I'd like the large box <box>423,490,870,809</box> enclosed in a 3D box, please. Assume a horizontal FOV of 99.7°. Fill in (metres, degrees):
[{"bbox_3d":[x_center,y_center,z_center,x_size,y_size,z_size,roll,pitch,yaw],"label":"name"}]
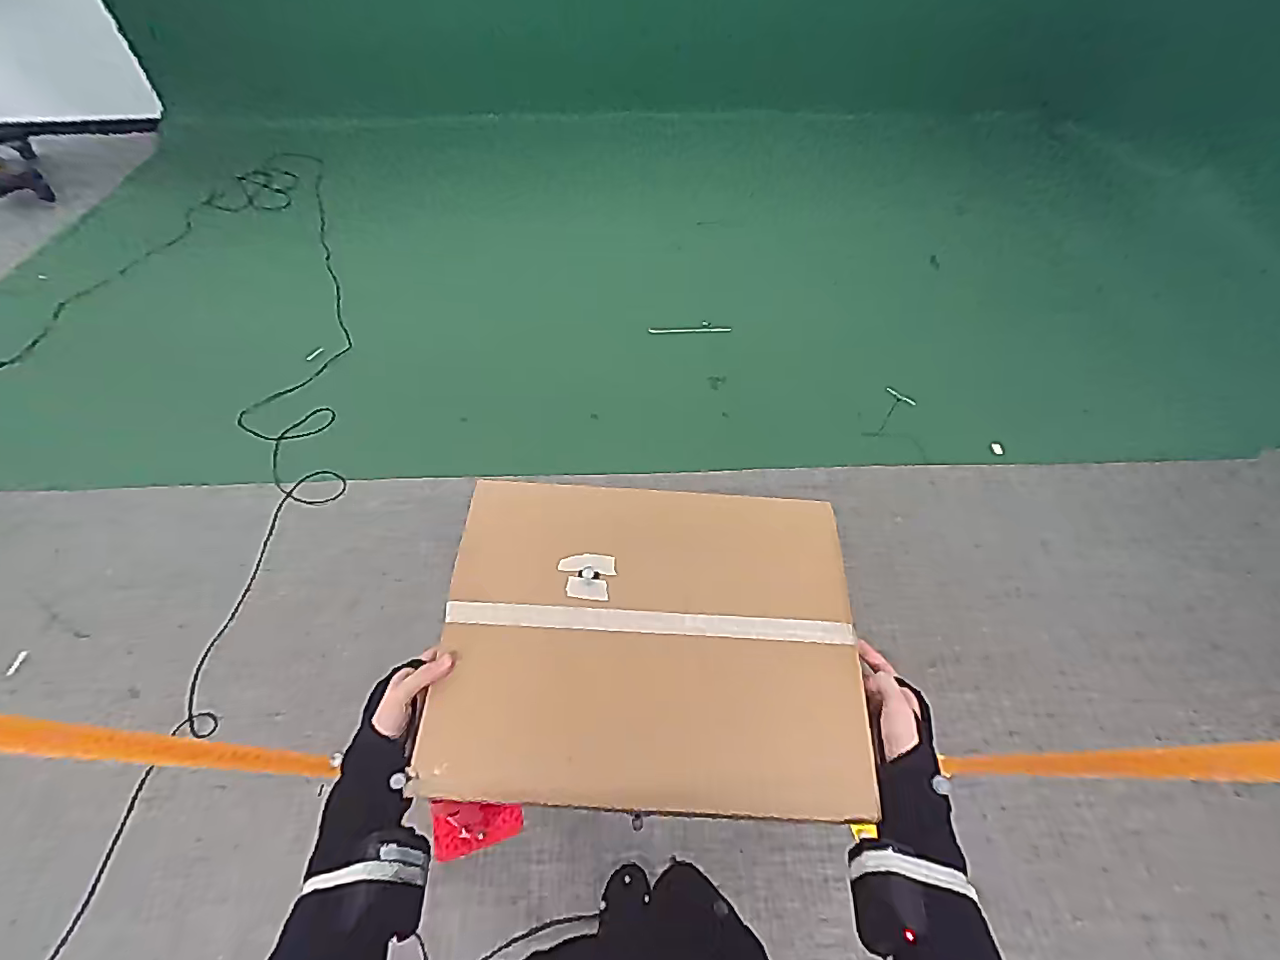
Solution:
[{"bbox_3d":[0.010,0.225,0.678,0.408,0.320,0.320,3,57,1],"label":"large box"}]
